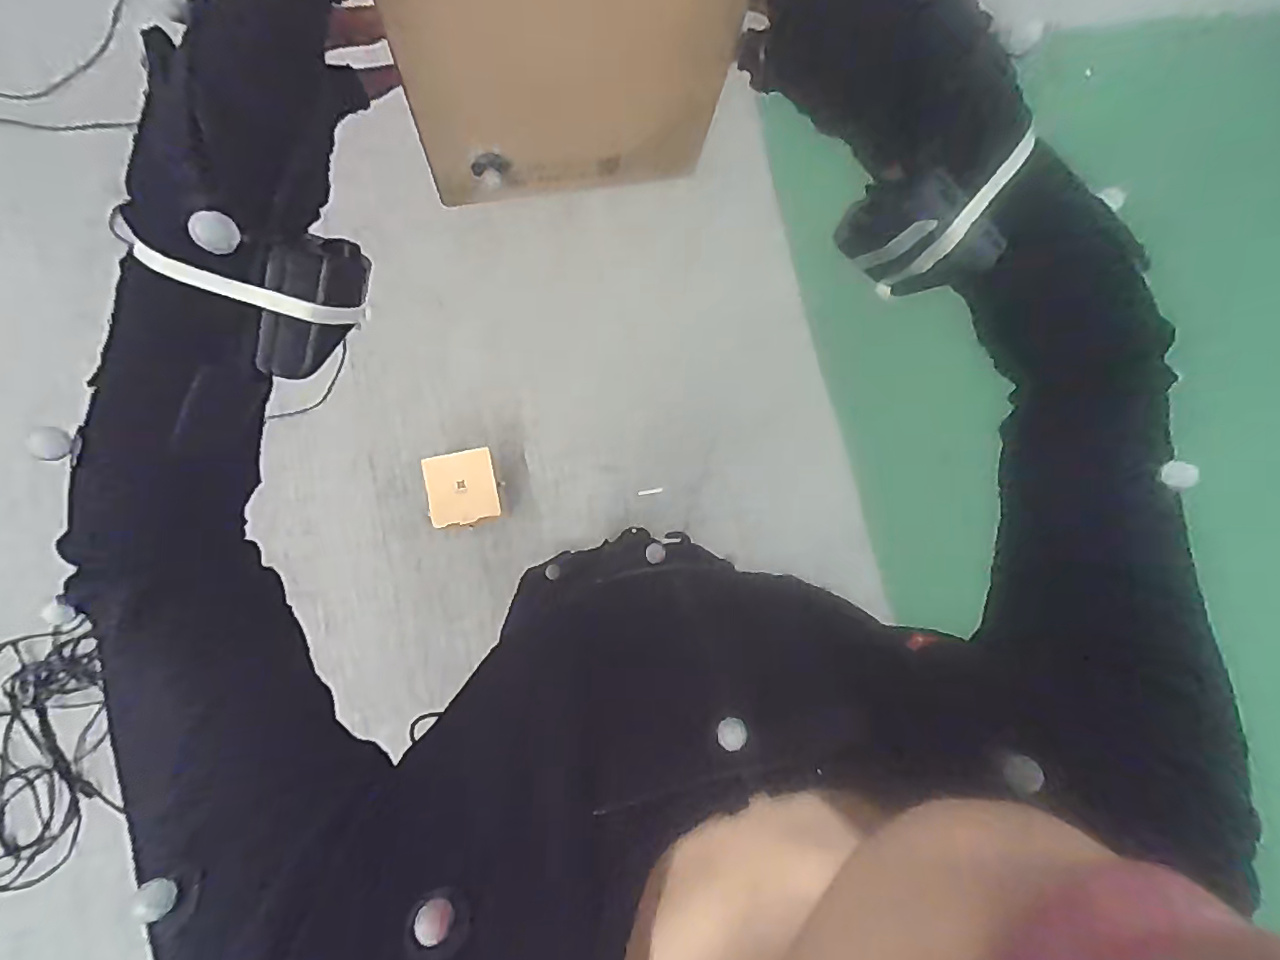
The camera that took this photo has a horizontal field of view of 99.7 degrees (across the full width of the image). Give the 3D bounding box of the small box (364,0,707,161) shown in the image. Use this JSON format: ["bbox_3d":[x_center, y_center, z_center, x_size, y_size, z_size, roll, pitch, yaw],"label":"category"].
[{"bbox_3d":[-0.060,-0.296,0.279,0.168,0.176,0.179,-12,81,-9],"label":"small box"}]

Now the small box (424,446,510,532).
[{"bbox_3d":[-0.437,0.029,1.385,0.168,0.176,0.179,-12,83,-8],"label":"small box"}]
